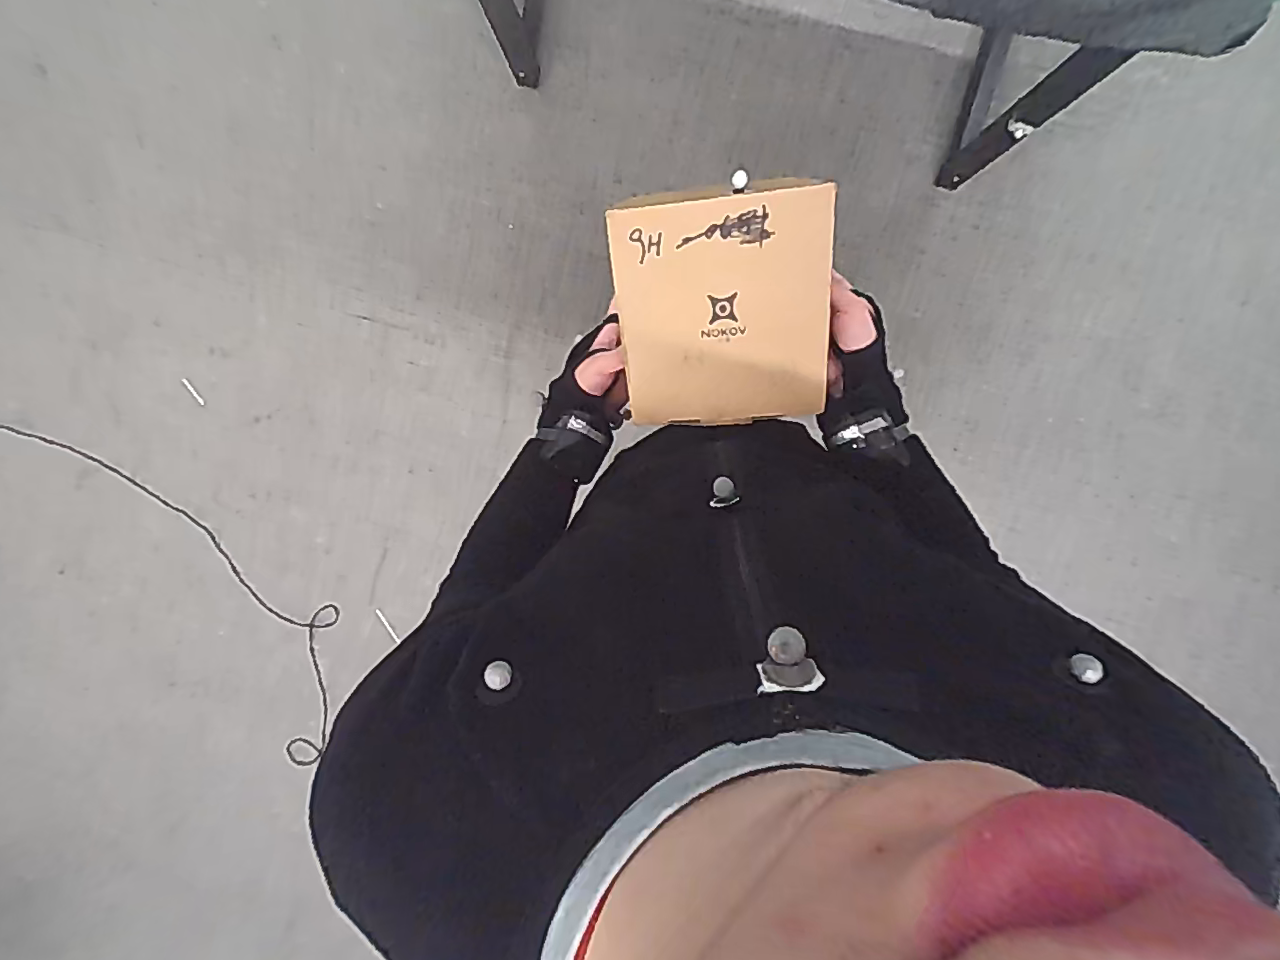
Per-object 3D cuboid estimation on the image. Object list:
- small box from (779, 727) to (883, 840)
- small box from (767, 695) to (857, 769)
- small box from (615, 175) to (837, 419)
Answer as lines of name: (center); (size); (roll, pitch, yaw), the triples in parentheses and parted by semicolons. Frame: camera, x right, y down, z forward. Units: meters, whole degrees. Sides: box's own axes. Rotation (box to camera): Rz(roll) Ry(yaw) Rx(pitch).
small box: (0.499, 0.798, 1.440); (0.179, 0.176, 0.168); (28, 97, -3)
small box: (0.502, 0.774, 1.603); (0.179, 0.176, 0.168); (27, 97, -2)
small box: (0.076, -0.174, 0.508); (0.168, 0.176, 0.179); (-3, 121, 7)
